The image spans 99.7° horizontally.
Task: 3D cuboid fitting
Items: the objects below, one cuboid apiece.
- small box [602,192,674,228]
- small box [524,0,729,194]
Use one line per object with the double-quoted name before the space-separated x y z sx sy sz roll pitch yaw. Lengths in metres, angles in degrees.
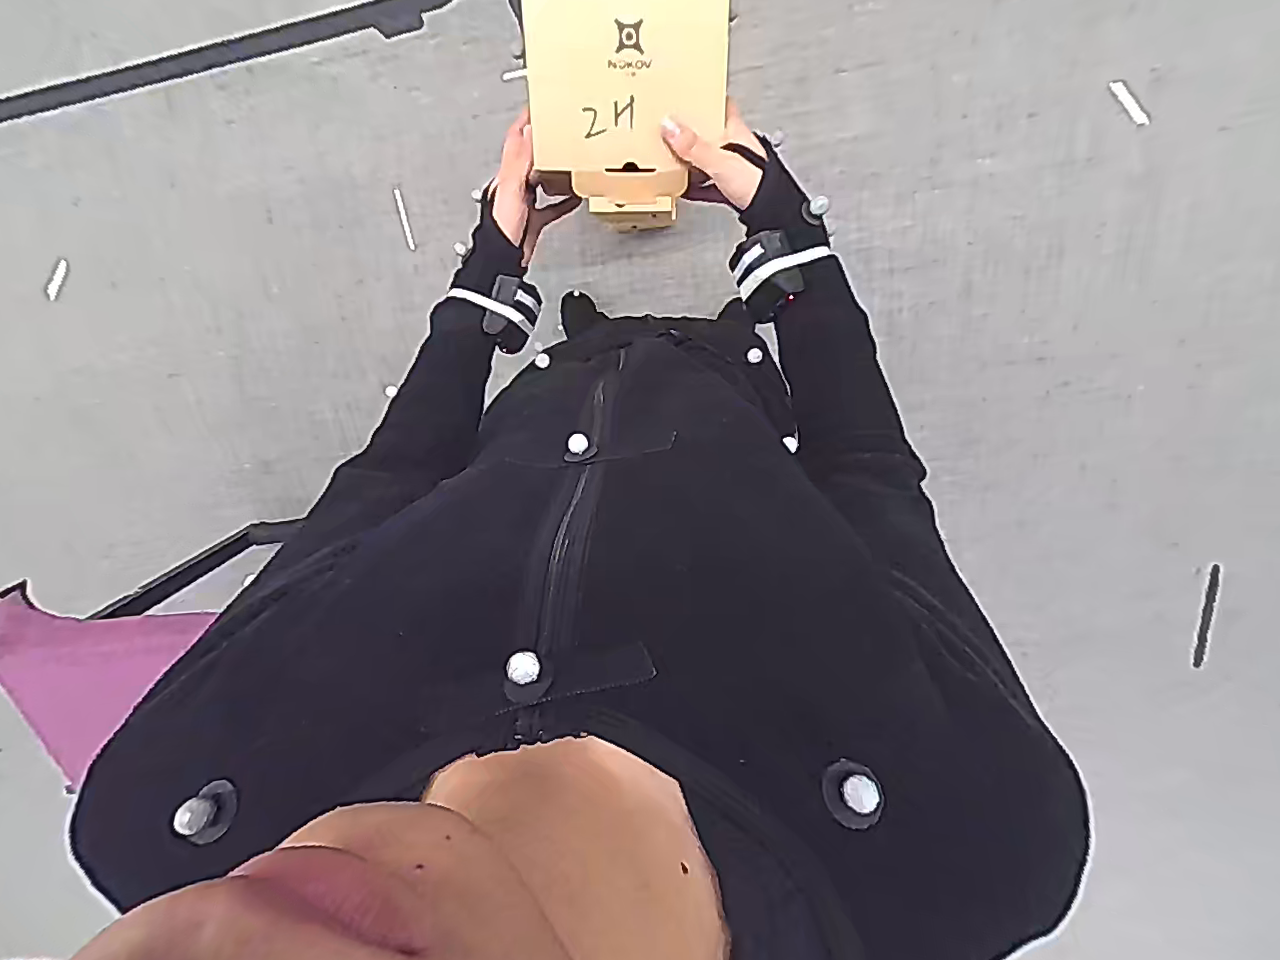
"small box" -0.003 -0.723 1.326 0.168 0.176 0.179 -4 110 5
"small box" -0.020 -0.378 0.506 0.168 0.176 0.179 -3 112 -6
